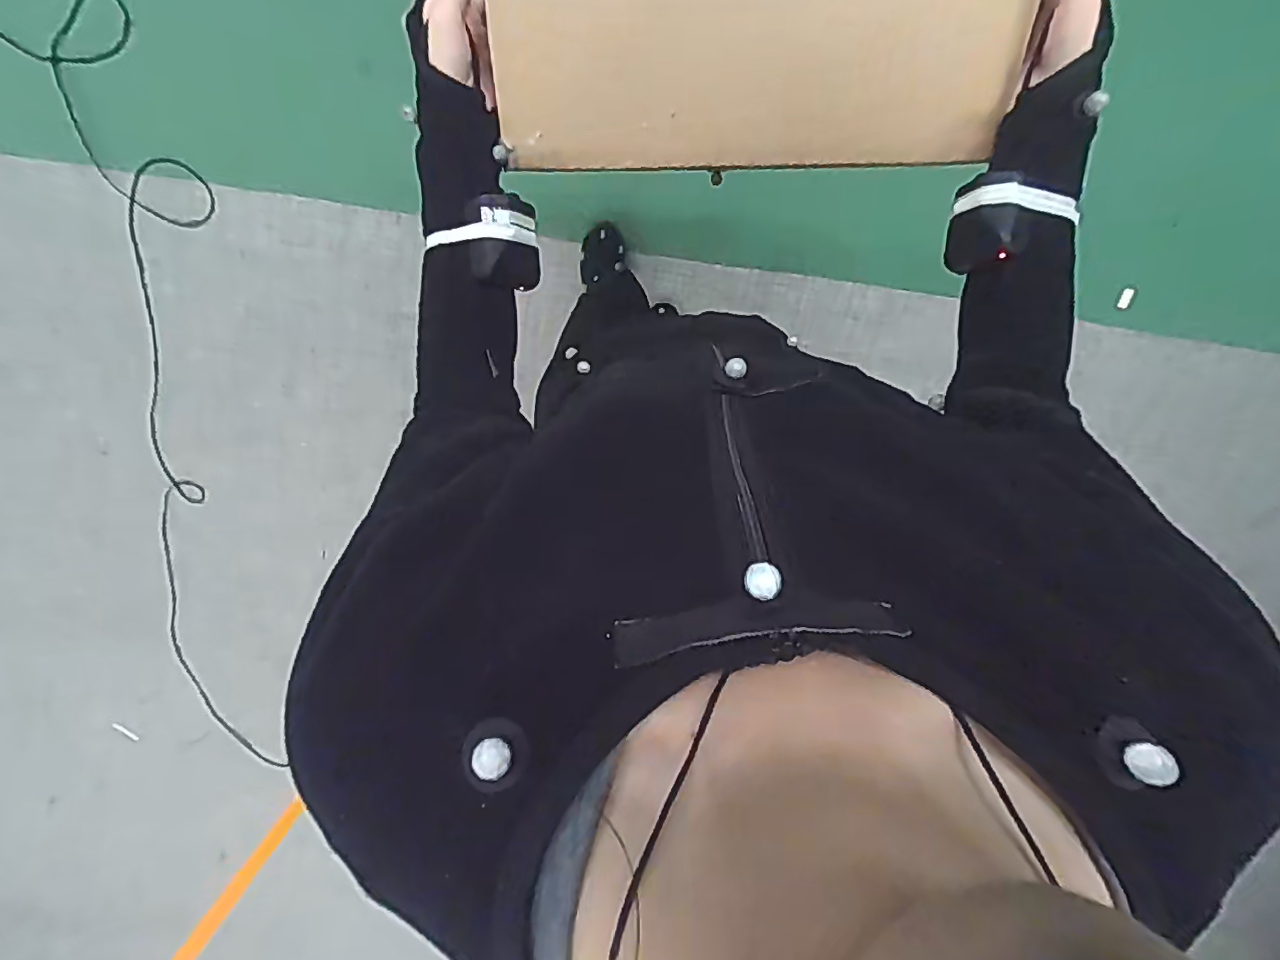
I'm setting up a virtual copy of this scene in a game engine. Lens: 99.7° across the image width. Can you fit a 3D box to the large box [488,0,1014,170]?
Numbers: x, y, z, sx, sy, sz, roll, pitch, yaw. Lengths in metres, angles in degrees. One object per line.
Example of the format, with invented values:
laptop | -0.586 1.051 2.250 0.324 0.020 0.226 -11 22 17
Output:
large box | 0.080 -0.478 0.504 0.408 0.320 0.320 -2 120 -1
